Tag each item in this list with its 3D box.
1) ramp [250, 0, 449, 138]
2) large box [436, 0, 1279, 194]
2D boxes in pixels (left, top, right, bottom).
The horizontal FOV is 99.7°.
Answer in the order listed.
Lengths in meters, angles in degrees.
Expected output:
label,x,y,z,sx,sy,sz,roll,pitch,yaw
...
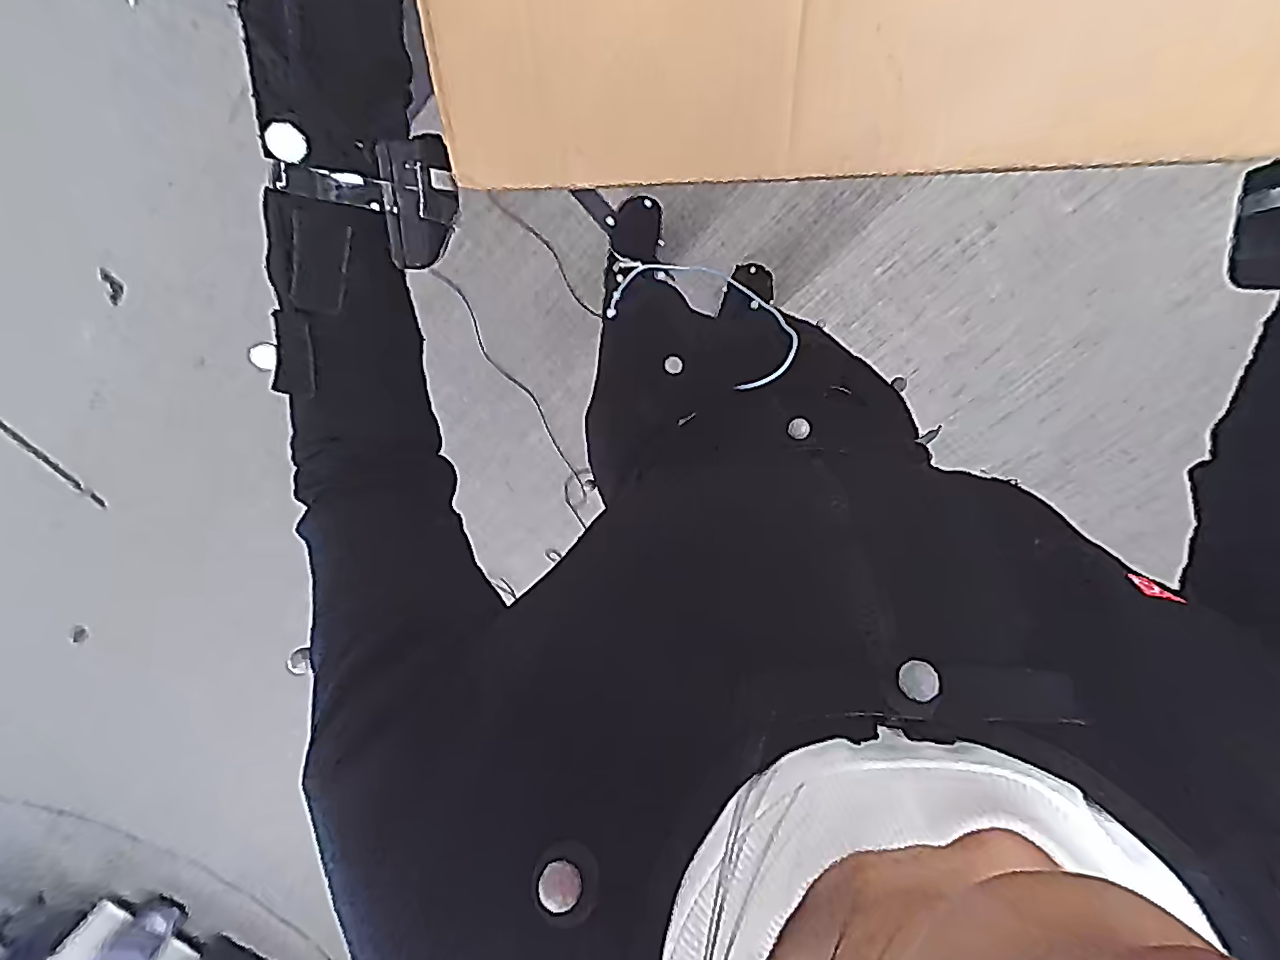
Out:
label,x,y,z,sx,sy,sz,roll,pitch,yaw
ramp,-0.742,-1.246,0.989,0.509,0.206,0.991,-40,104,20
large box,0.103,-0.369,0.317,0.408,0.320,0.320,-2,123,4
